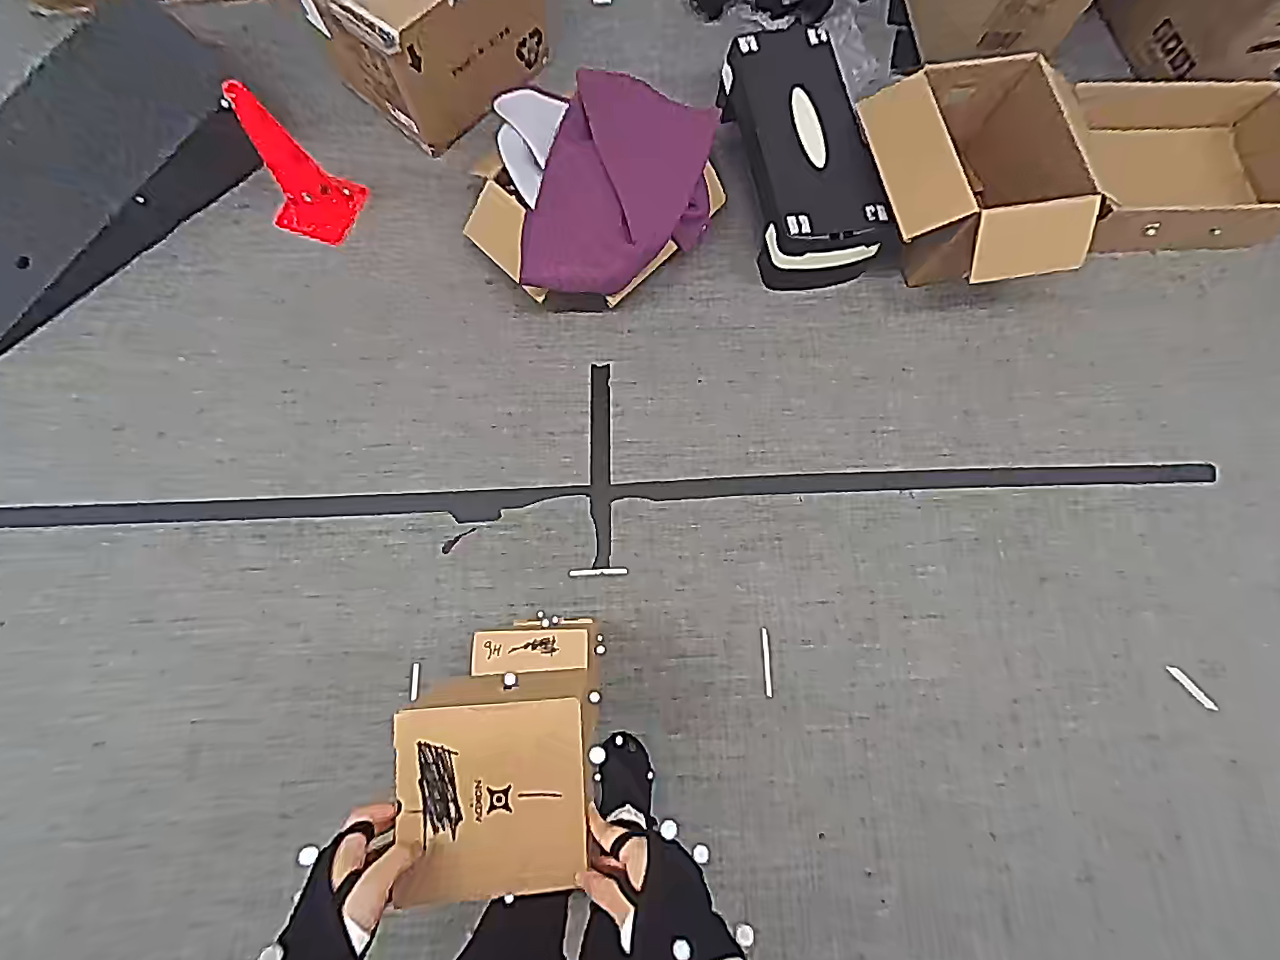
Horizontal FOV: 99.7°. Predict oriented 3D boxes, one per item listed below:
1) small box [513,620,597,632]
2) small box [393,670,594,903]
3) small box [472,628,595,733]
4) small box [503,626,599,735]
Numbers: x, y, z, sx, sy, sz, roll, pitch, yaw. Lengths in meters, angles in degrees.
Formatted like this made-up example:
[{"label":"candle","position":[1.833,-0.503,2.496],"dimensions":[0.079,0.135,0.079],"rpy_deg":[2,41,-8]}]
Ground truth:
[{"label":"small box","position":[-0.176,0.391,1.154],"dimensions":[0.168,0.176,0.179],"rpy_deg":[-2,78,-2]},{"label":"small box","position":[-0.141,0.306,0.576],"dimensions":[0.179,0.176,0.168],"rpy_deg":[-3,81,-5]},{"label":"small box","position":[-0.157,0.323,0.833],"dimensions":[0.168,0.176,0.179],"rpy_deg":[-1,77,-2]},{"label":"small box","position":[-0.162,0.360,0.992],"dimensions":[0.168,0.176,0.179],"rpy_deg":[-1,76,-2]}]
